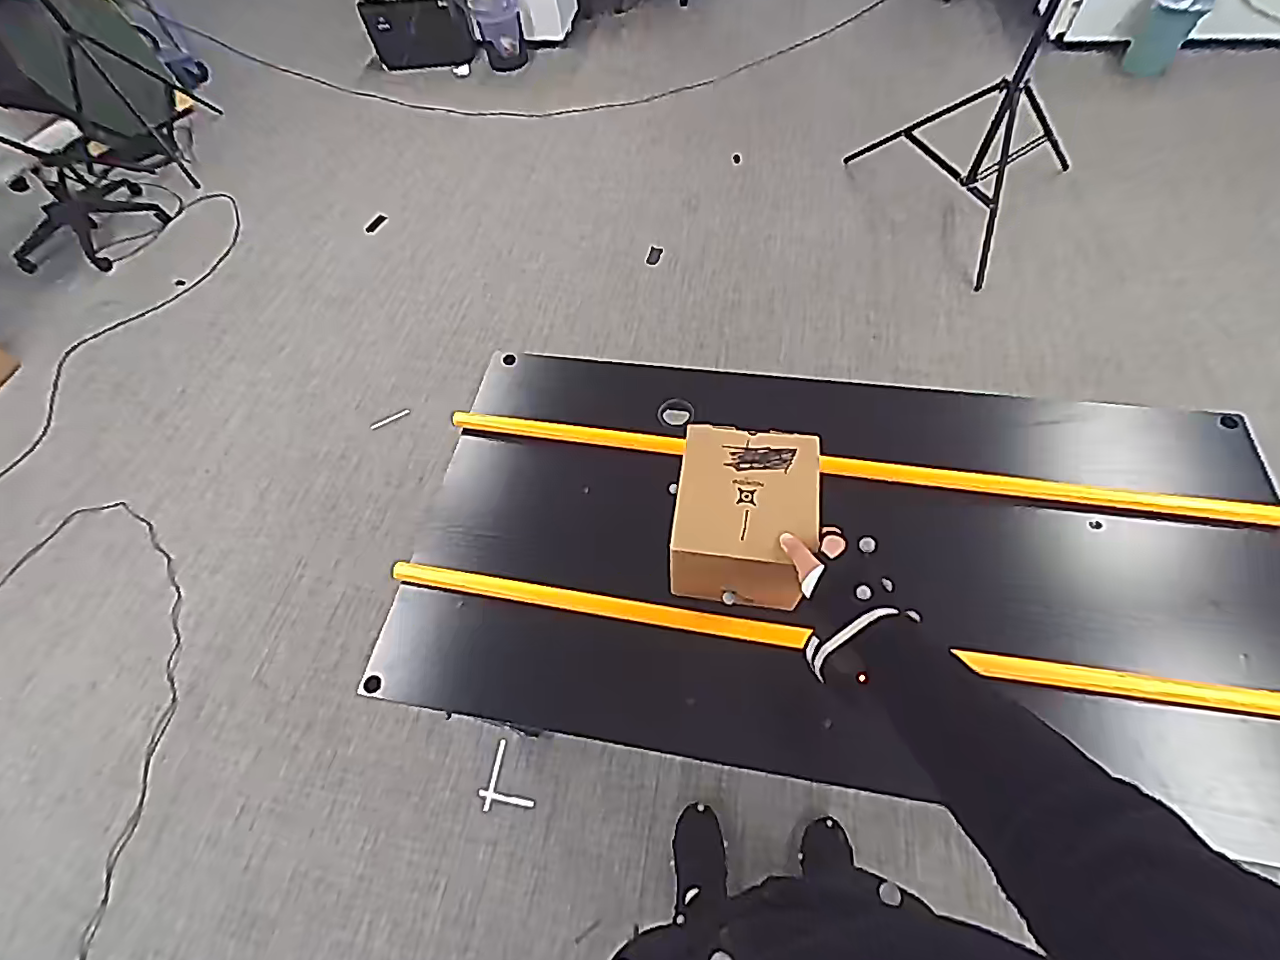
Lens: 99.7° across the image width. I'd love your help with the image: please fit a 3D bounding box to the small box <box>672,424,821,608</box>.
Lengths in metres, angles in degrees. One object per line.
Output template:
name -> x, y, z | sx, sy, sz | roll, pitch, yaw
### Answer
small box -> 0.135, 0.051, 0.711 | 0.168, 0.176, 0.179 | 6, 62, 9
